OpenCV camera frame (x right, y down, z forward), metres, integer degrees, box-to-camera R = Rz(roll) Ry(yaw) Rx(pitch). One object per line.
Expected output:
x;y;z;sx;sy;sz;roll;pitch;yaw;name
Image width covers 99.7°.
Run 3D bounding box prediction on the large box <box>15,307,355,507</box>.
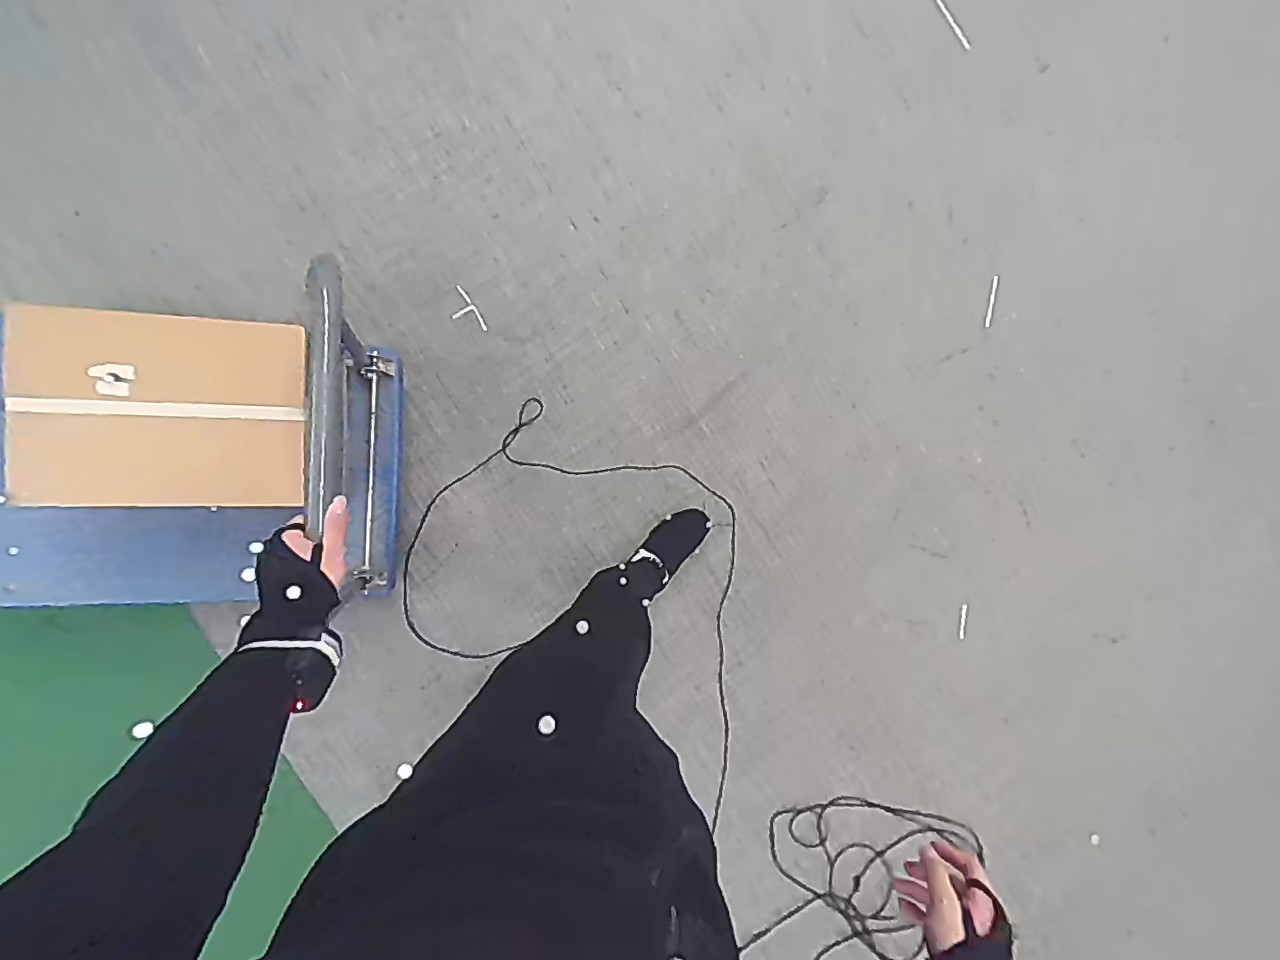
-0.795;-0.118;1.019;0.408;0.320;0.320;0;90;-15;large box
